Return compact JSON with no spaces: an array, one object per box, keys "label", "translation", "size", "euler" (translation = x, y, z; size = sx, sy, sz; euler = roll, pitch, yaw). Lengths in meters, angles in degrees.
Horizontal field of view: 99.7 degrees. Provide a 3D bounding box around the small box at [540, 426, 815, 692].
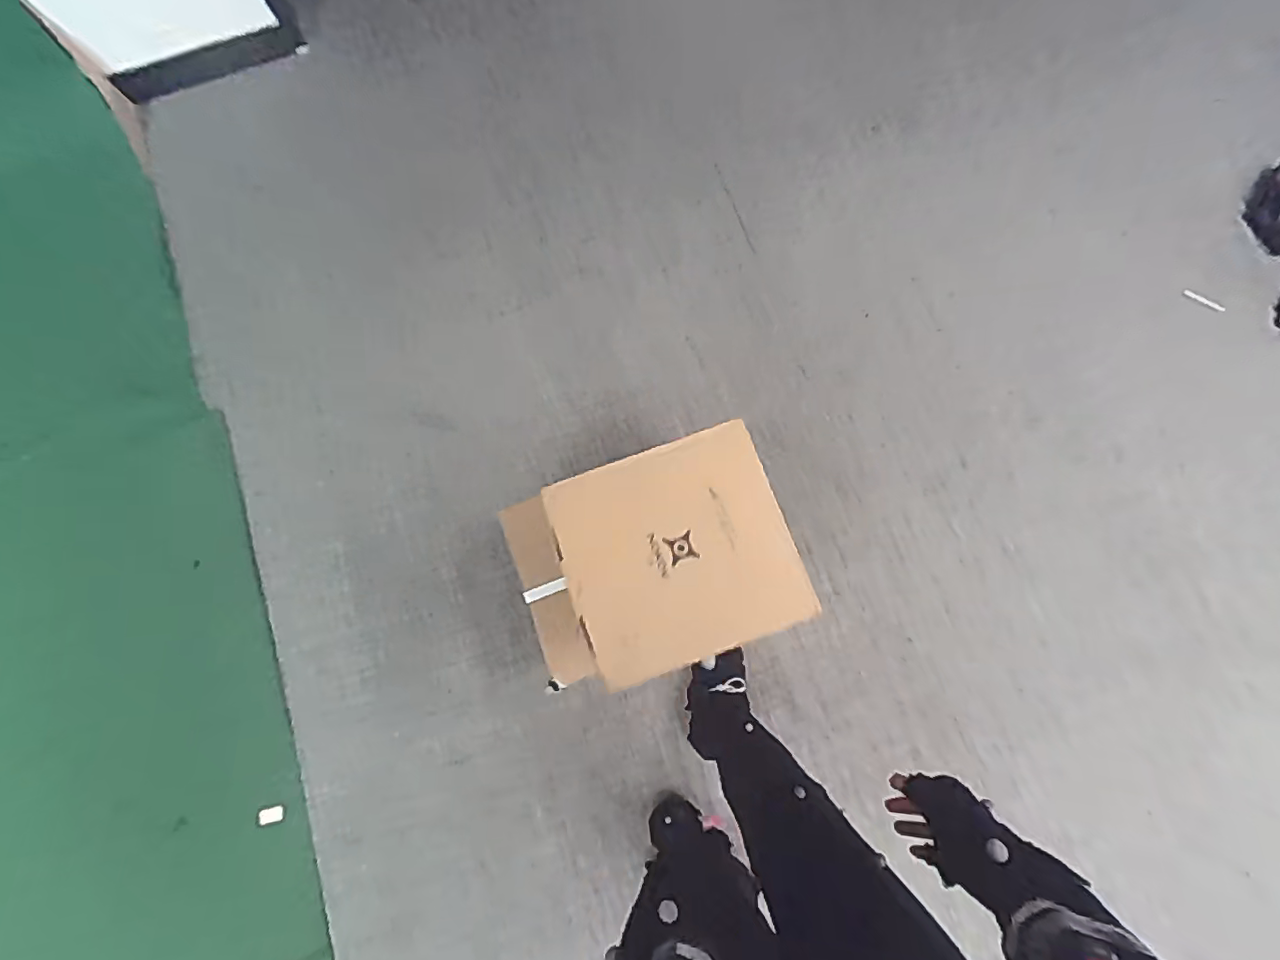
[{"label":"small box","translation":[0.029,0.073,0.499],"size":[0.179,0.176,0.168],"euler":[-20,80,-3]}]
